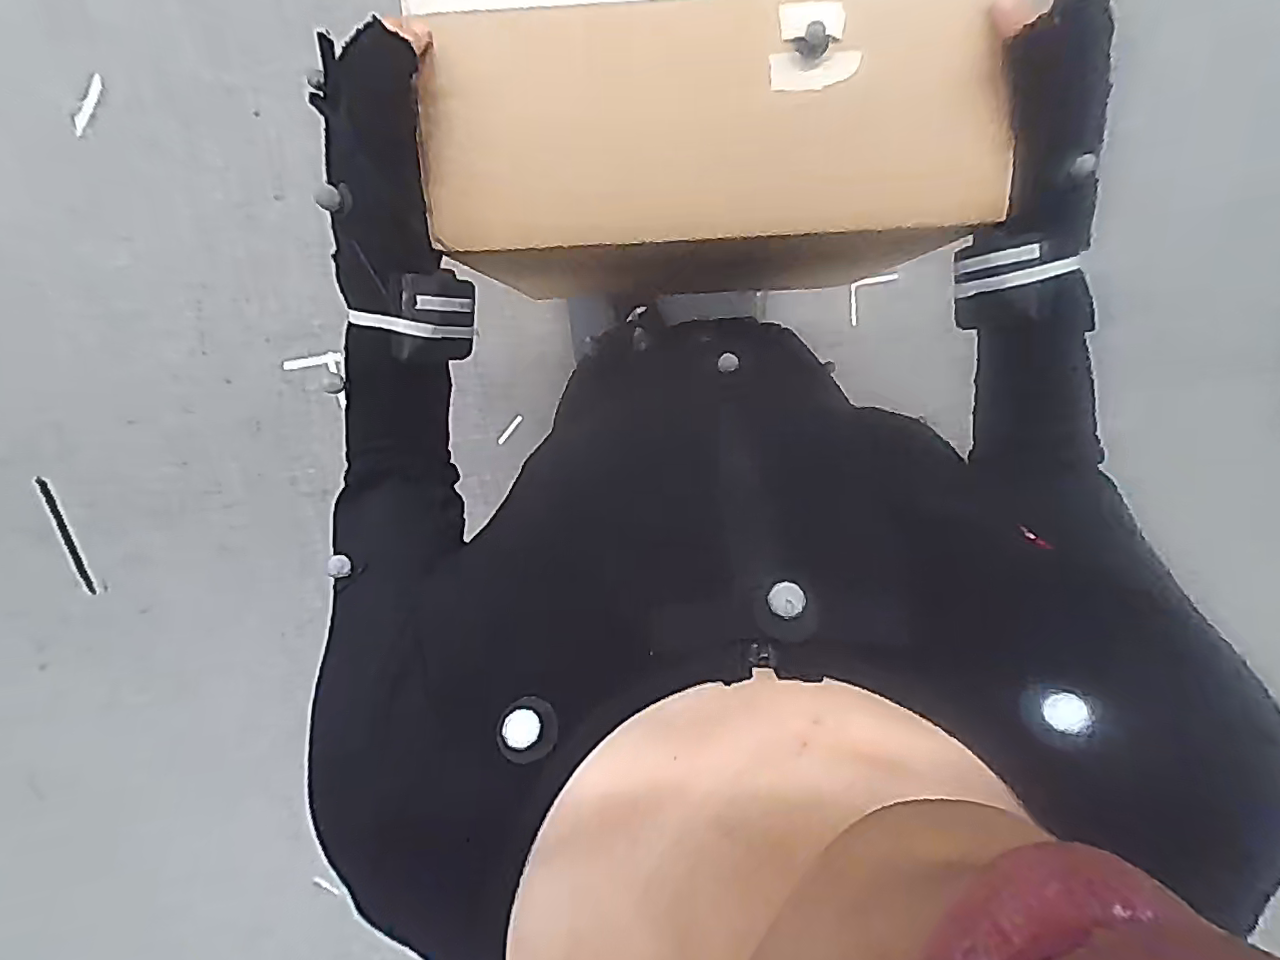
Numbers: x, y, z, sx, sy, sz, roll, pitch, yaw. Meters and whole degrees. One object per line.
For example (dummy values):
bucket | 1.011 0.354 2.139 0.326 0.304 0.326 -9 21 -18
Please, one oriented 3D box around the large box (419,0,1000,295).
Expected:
large box | 0.046 -0.368 0.512 0.408 0.320 0.320 -2 102 2
